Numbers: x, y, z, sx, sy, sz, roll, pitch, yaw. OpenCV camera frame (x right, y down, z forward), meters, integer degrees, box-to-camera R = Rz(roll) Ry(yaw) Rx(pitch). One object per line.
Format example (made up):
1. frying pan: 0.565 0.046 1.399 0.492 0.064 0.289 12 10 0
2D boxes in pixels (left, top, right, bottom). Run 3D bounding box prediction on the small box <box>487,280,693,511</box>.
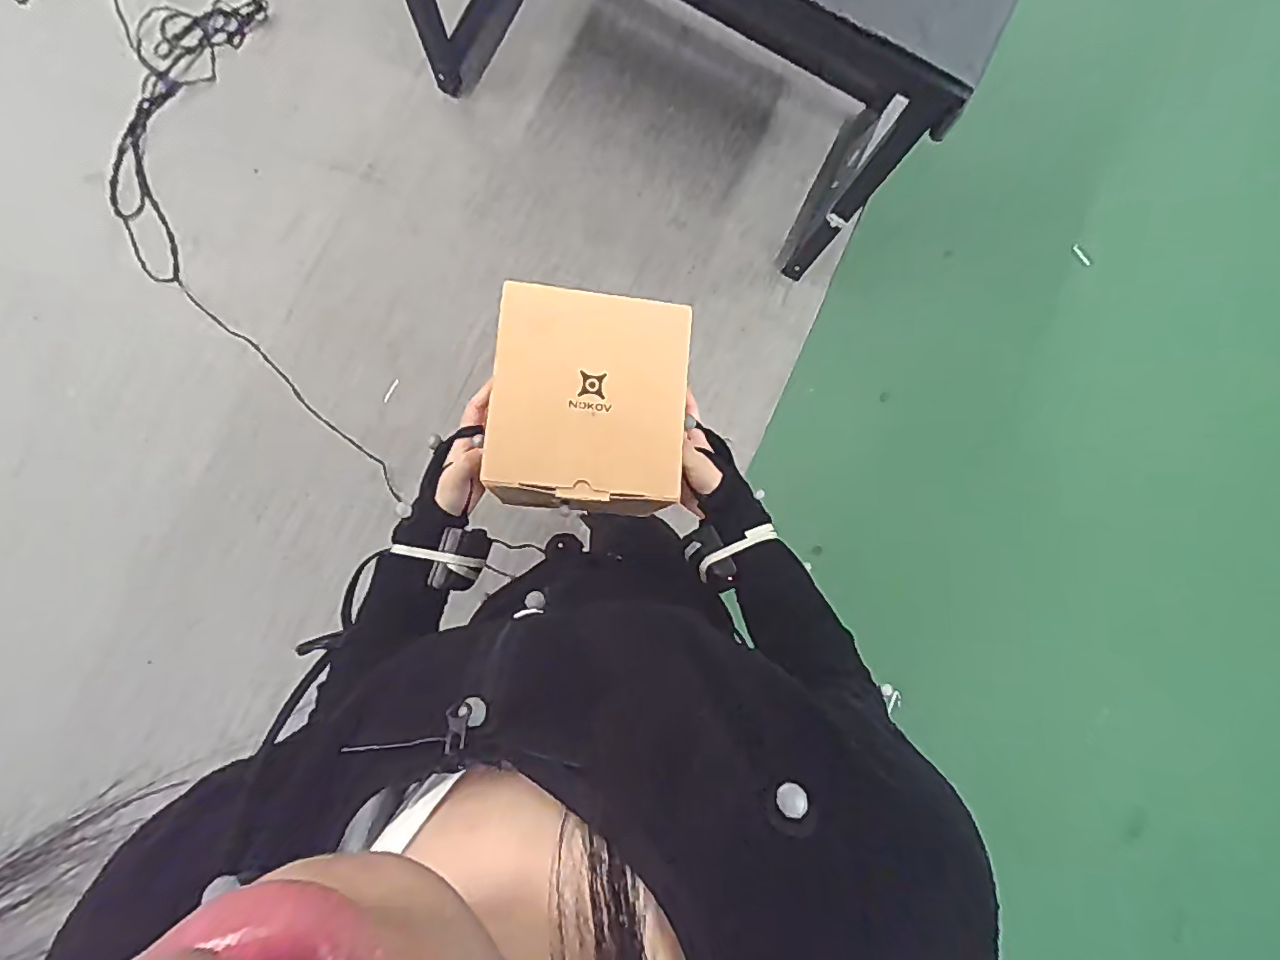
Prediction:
1. small box: -0.052 -0.068 0.539 0.168 0.176 0.179 5 82 -9
